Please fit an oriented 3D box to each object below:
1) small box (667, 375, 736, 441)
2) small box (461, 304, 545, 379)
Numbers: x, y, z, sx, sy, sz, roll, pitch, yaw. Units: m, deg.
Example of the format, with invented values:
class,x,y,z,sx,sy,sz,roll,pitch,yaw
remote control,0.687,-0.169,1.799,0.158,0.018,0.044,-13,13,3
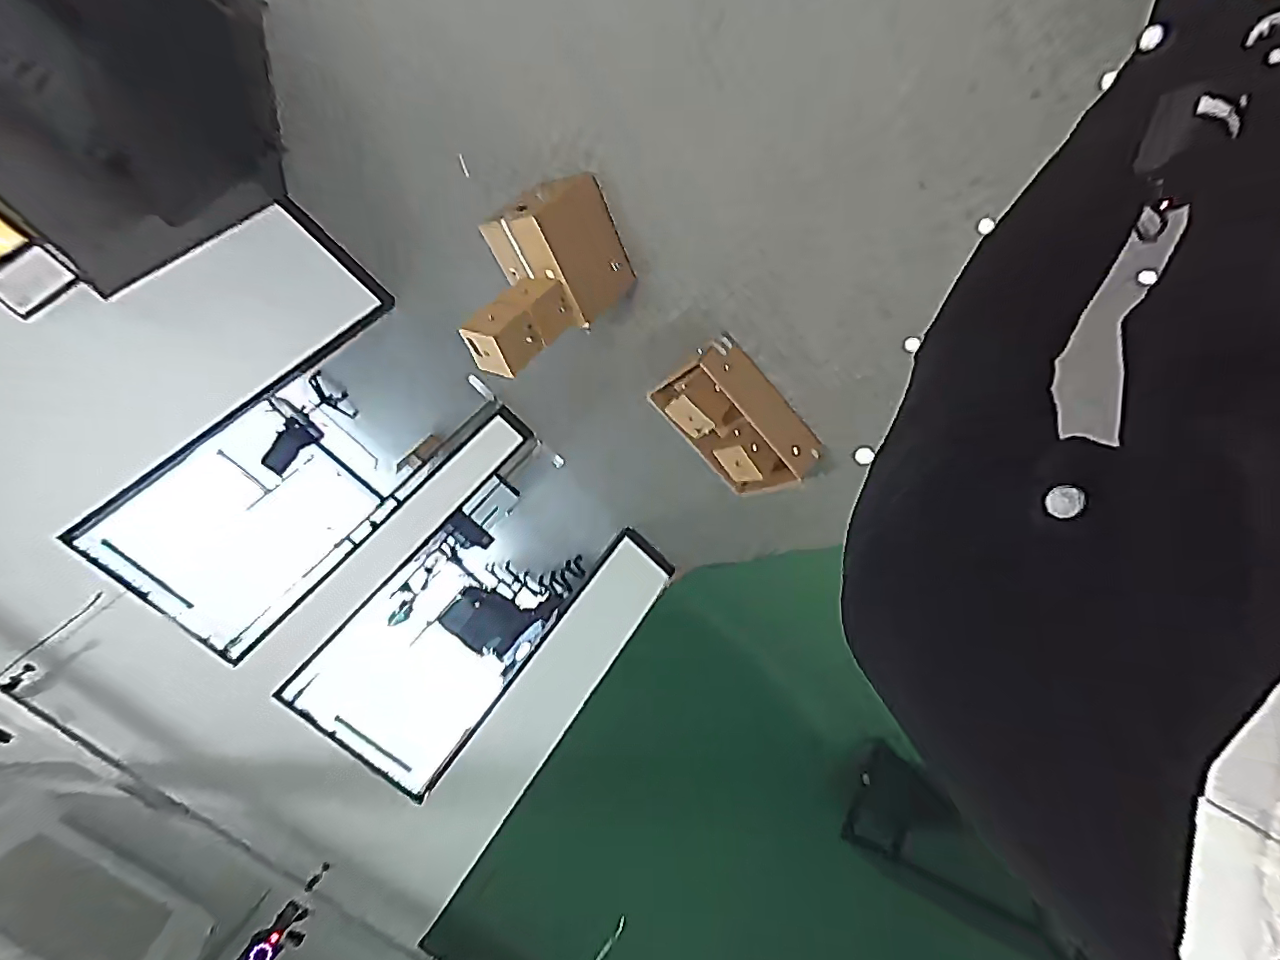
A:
class,x,y,z,sx,sy,sz,roll,pitch,yaw
small box,0.245,-0.291,2.141,0.179,0.176,0.168,43,153,-9
small box,-0.451,-0.467,1.803,0.179,0.176,0.168,20,148,31
